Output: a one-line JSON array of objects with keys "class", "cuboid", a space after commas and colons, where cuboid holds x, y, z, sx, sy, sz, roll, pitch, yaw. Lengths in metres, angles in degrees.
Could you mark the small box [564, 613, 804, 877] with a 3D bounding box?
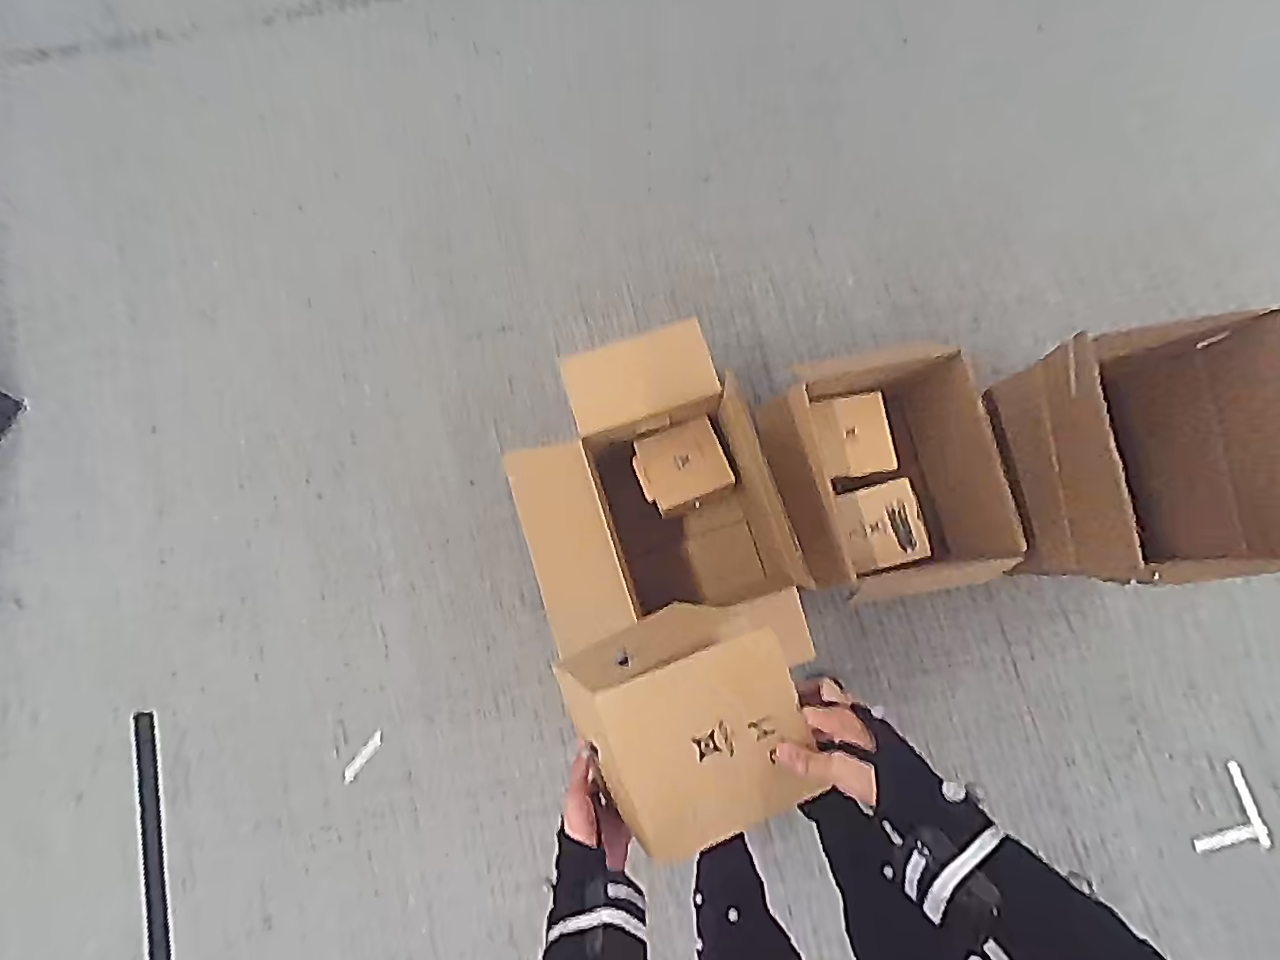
[{"class": "small box", "cuboid": [0.031, 0.253, 0.571, 0.179, 0.176, 0.168, -21, 89, -24]}]
